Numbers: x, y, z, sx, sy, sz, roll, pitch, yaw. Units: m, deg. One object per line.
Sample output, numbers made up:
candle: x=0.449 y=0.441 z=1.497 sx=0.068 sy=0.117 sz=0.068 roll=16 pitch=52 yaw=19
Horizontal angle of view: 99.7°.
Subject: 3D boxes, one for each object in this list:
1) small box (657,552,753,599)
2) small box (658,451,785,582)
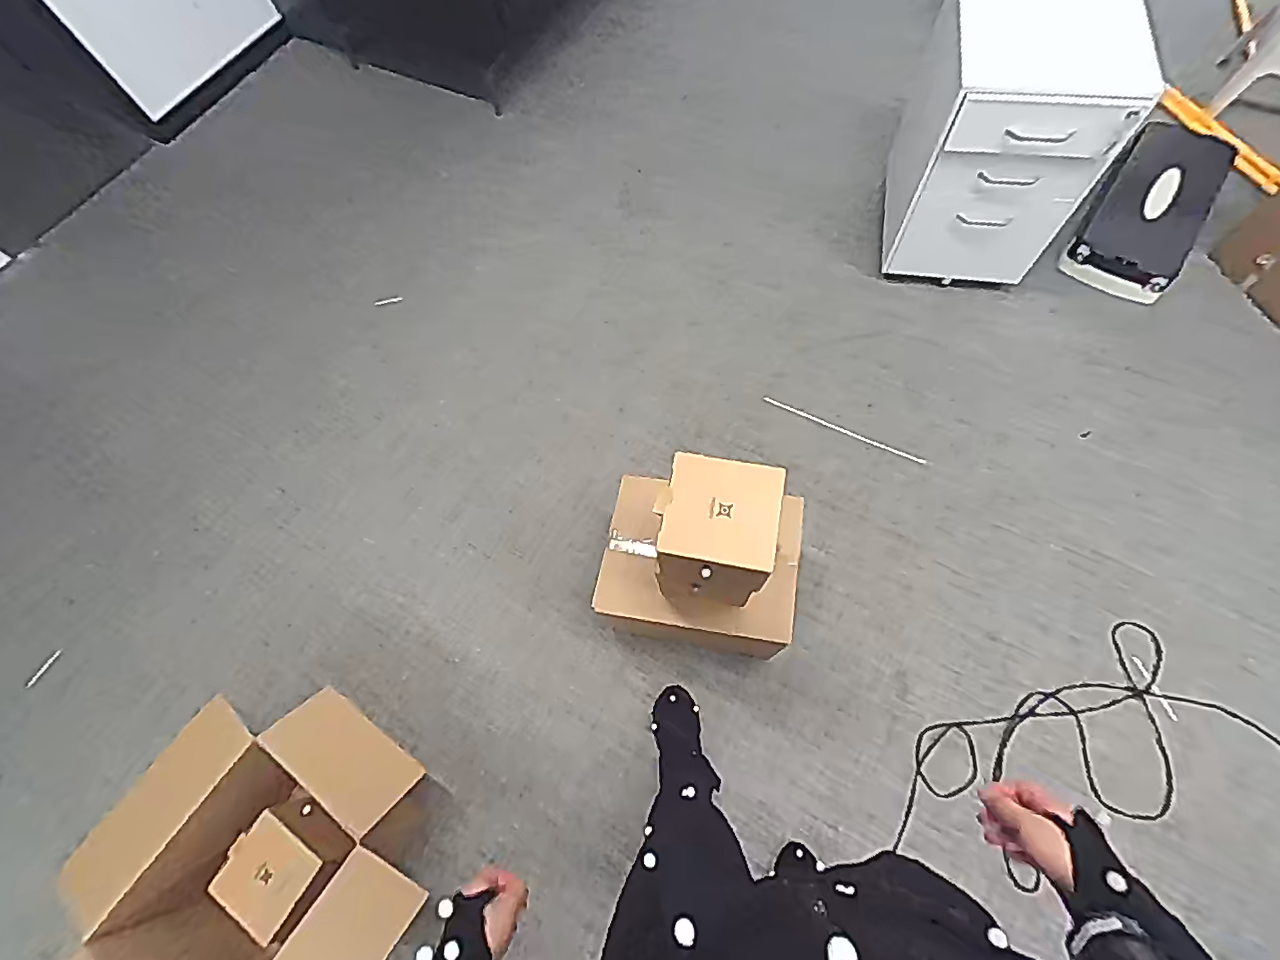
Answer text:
small box: x=0.139 y=0.128 z=1.053 sx=0.179 sy=0.176 sz=0.168 roll=8 pitch=69 yaw=9
small box: x=0.135 y=0.068 z=0.902 sx=0.179 sy=0.176 sz=0.168 roll=8 pitch=70 yaw=10
